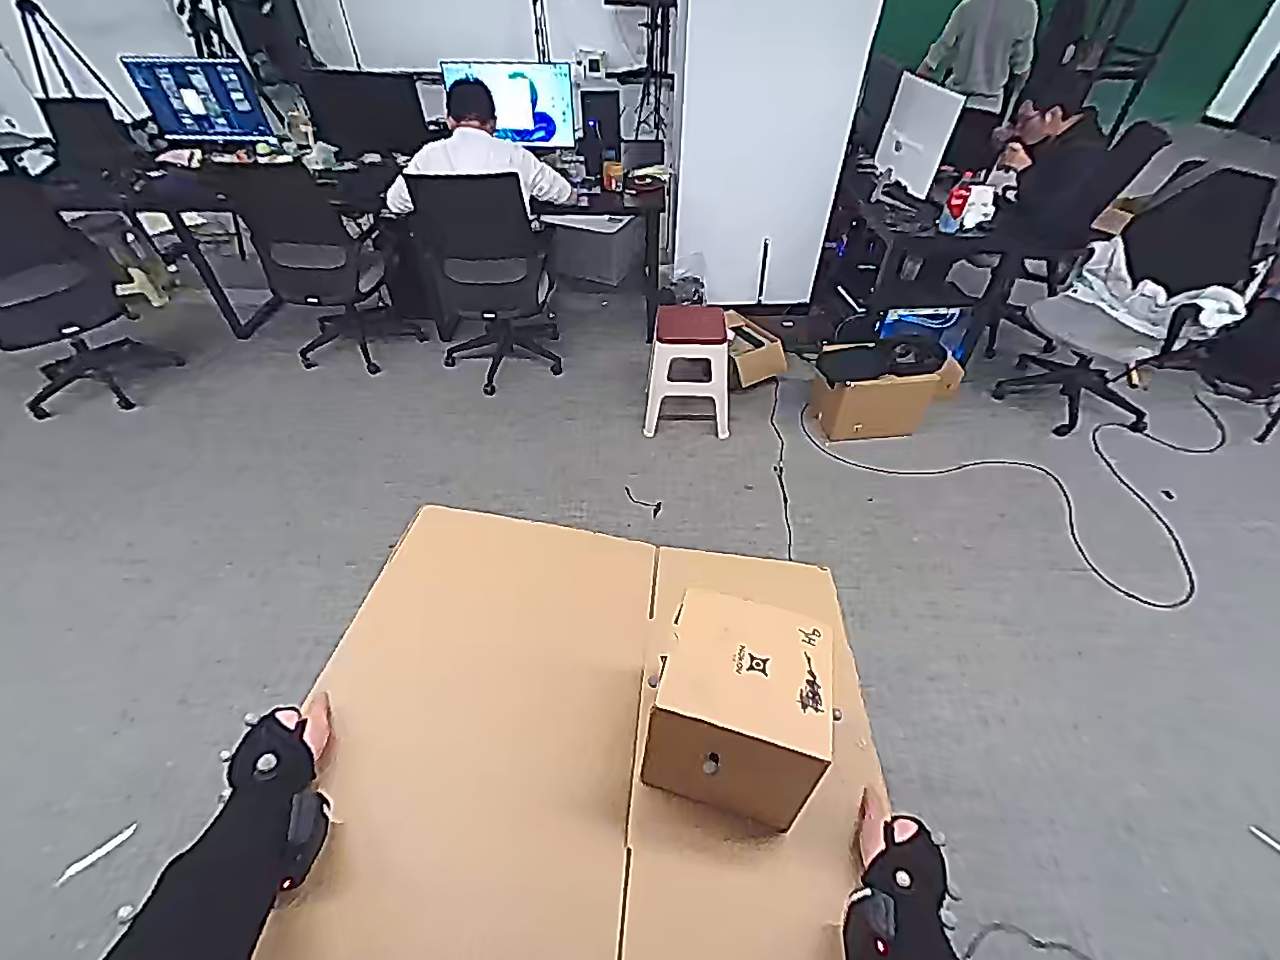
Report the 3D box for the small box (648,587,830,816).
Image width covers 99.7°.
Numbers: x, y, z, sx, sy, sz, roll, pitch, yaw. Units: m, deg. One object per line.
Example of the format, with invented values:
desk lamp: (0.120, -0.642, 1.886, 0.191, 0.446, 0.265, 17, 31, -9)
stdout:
small box: (0.113, 0.258, 0.634, 0.179, 0.176, 0.168, 13, 39, 11)
